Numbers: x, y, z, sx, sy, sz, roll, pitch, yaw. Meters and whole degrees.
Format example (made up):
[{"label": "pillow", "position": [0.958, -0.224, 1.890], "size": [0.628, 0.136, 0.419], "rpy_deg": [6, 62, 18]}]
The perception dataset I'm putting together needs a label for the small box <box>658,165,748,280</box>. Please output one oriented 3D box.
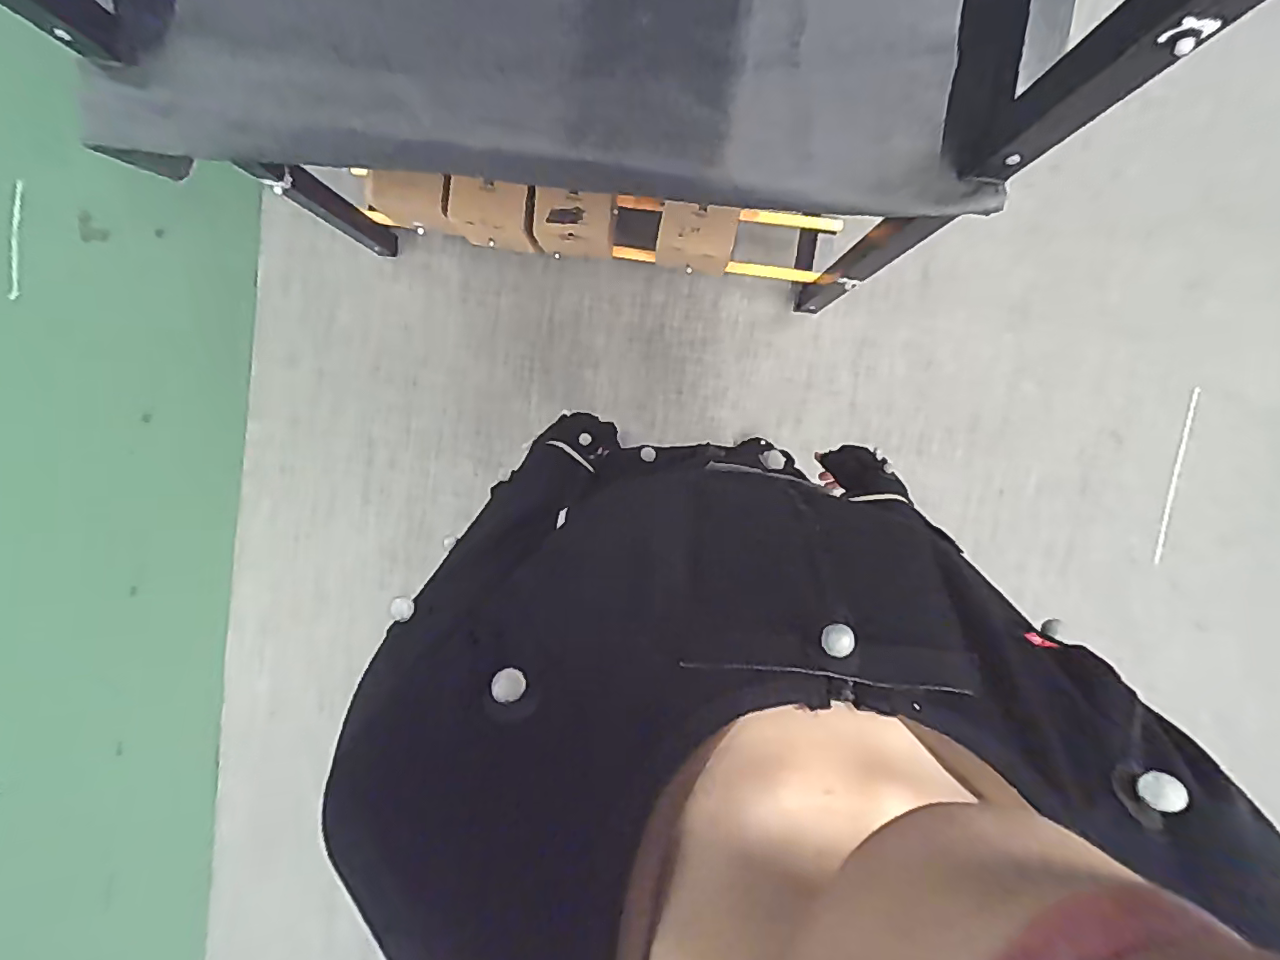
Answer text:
[{"label": "small box", "position": [0.137, -0.582, 1.243], "size": [0.168, 0.176, 0.179], "rpy_deg": [13, 97, 1]}]
